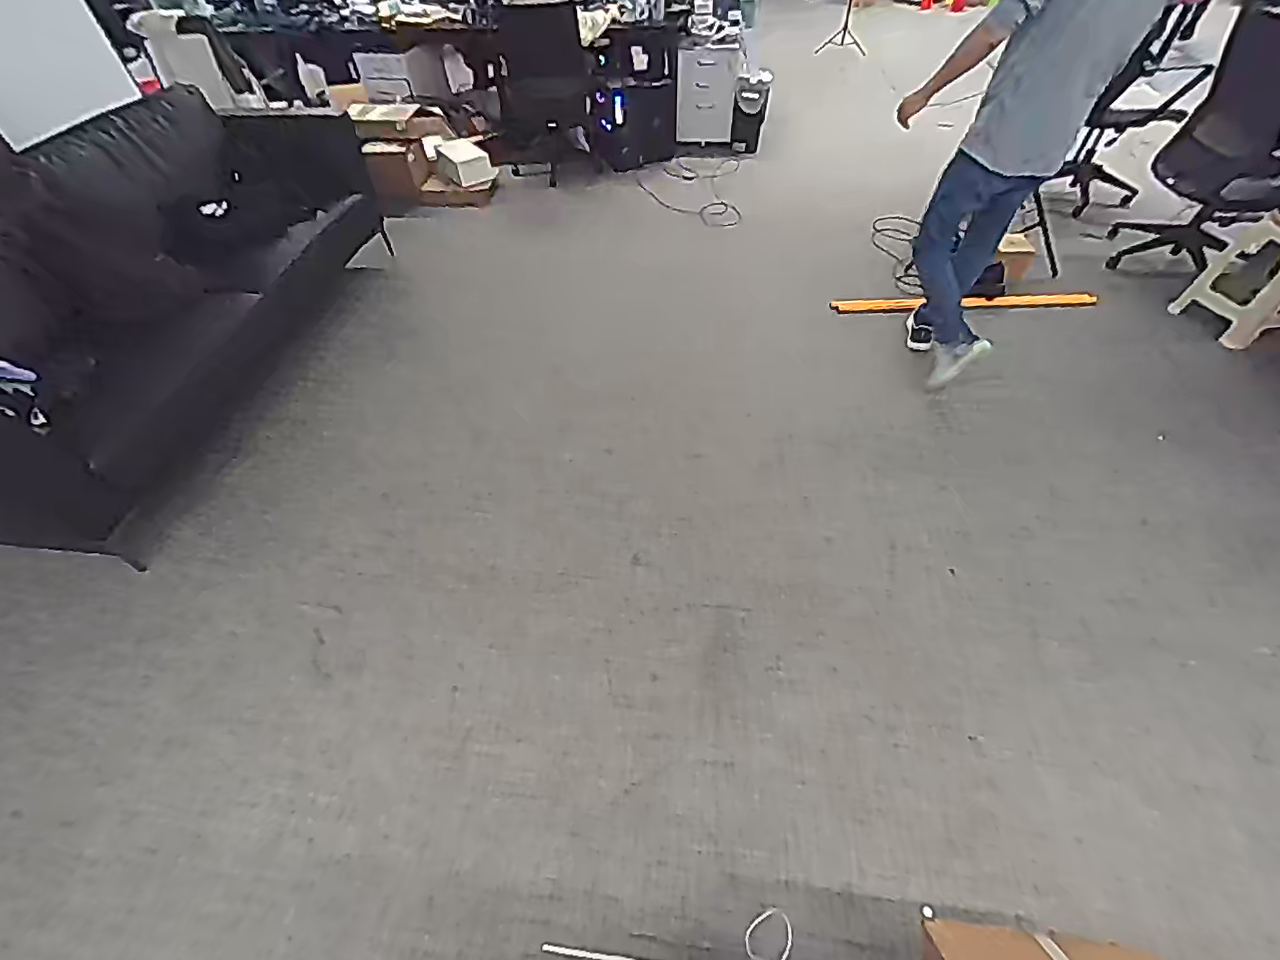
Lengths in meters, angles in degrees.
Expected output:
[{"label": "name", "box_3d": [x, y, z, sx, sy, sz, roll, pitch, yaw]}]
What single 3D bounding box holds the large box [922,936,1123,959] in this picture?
[{"label": "large box", "box_3d": [0.536, 0.799, 0.563, 0.320, 0.408, 0.320, 4, 83, 7]}]
